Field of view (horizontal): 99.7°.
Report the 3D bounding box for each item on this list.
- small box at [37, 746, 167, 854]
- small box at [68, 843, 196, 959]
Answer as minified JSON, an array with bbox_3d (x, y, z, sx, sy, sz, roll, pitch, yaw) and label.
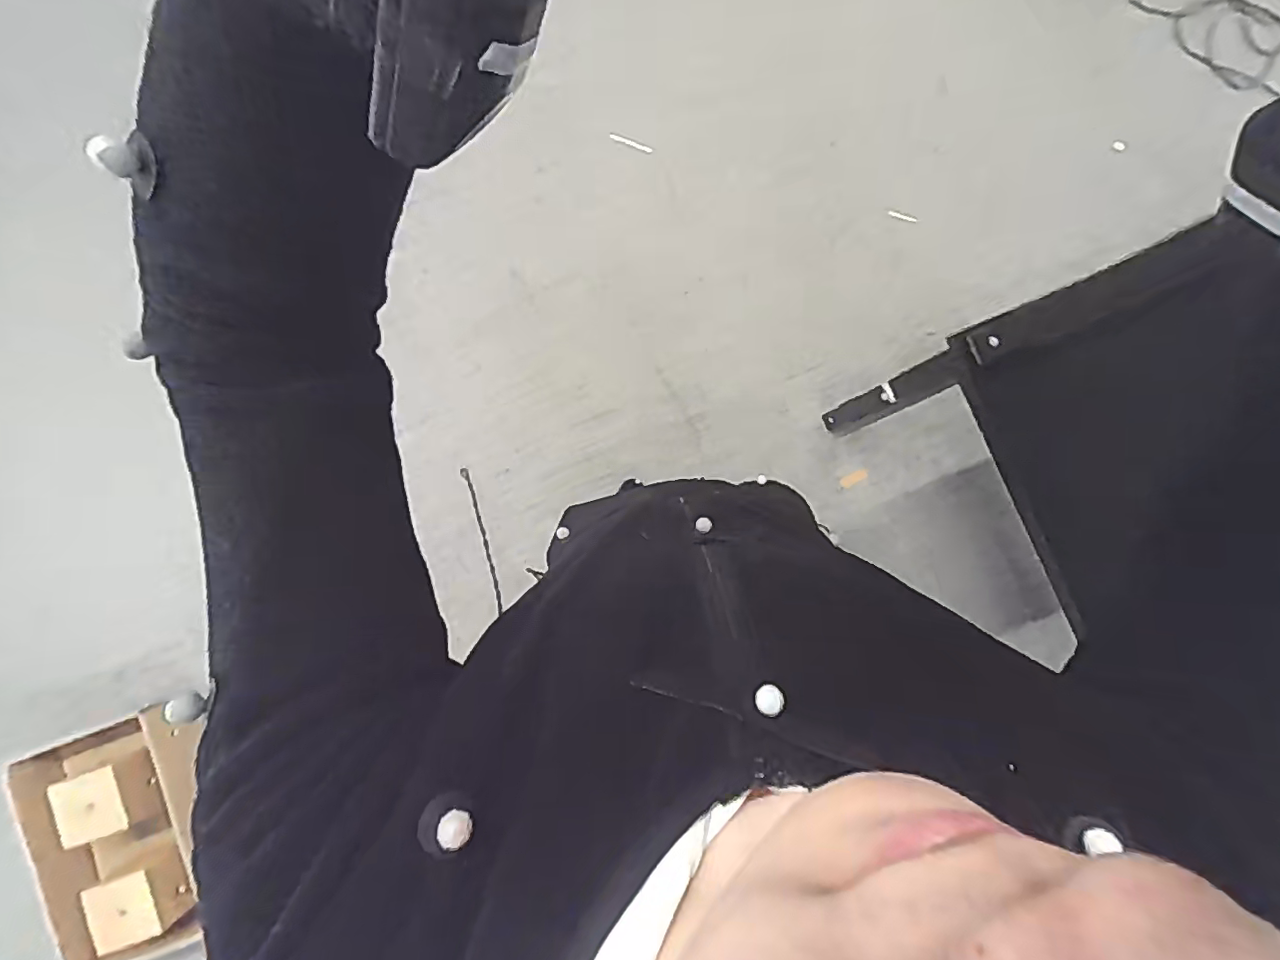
[{"bbox_3d":[-1.428,0.849,1.452,0.179,0.176,0.168,-18,87,-1],"label":"small box"},{"bbox_3d":[-1.332,1.114,1.436,0.179,0.176,0.168,-20,86,0],"label":"small box"}]
